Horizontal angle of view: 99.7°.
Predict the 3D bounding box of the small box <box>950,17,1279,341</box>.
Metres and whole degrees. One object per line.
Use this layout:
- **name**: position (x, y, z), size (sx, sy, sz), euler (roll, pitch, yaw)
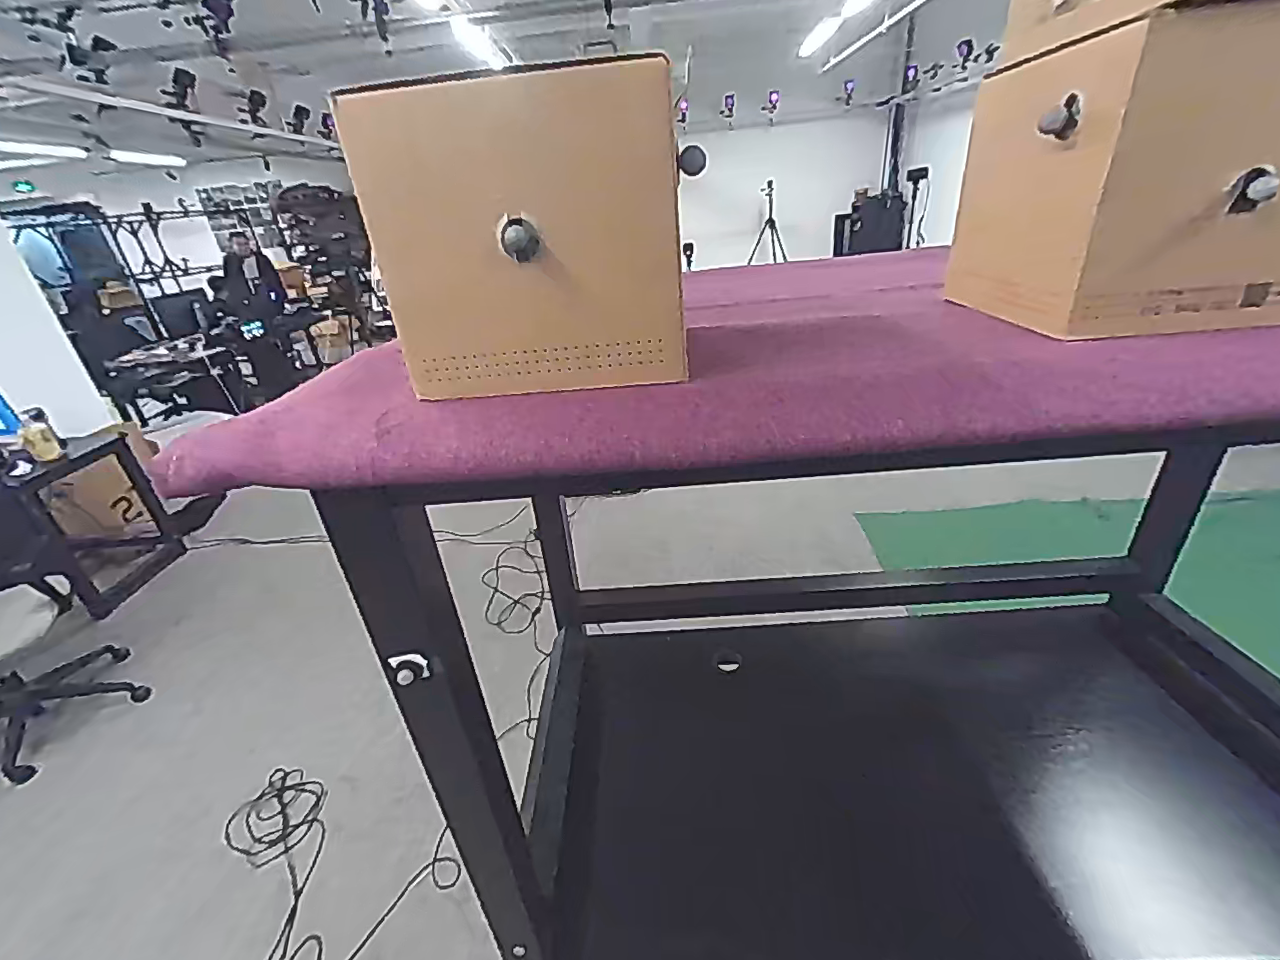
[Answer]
- **small box**: position (0.348, -0.196, 0.376), size (0.168, 0.176, 0.179), euler (-2, 27, 5)
